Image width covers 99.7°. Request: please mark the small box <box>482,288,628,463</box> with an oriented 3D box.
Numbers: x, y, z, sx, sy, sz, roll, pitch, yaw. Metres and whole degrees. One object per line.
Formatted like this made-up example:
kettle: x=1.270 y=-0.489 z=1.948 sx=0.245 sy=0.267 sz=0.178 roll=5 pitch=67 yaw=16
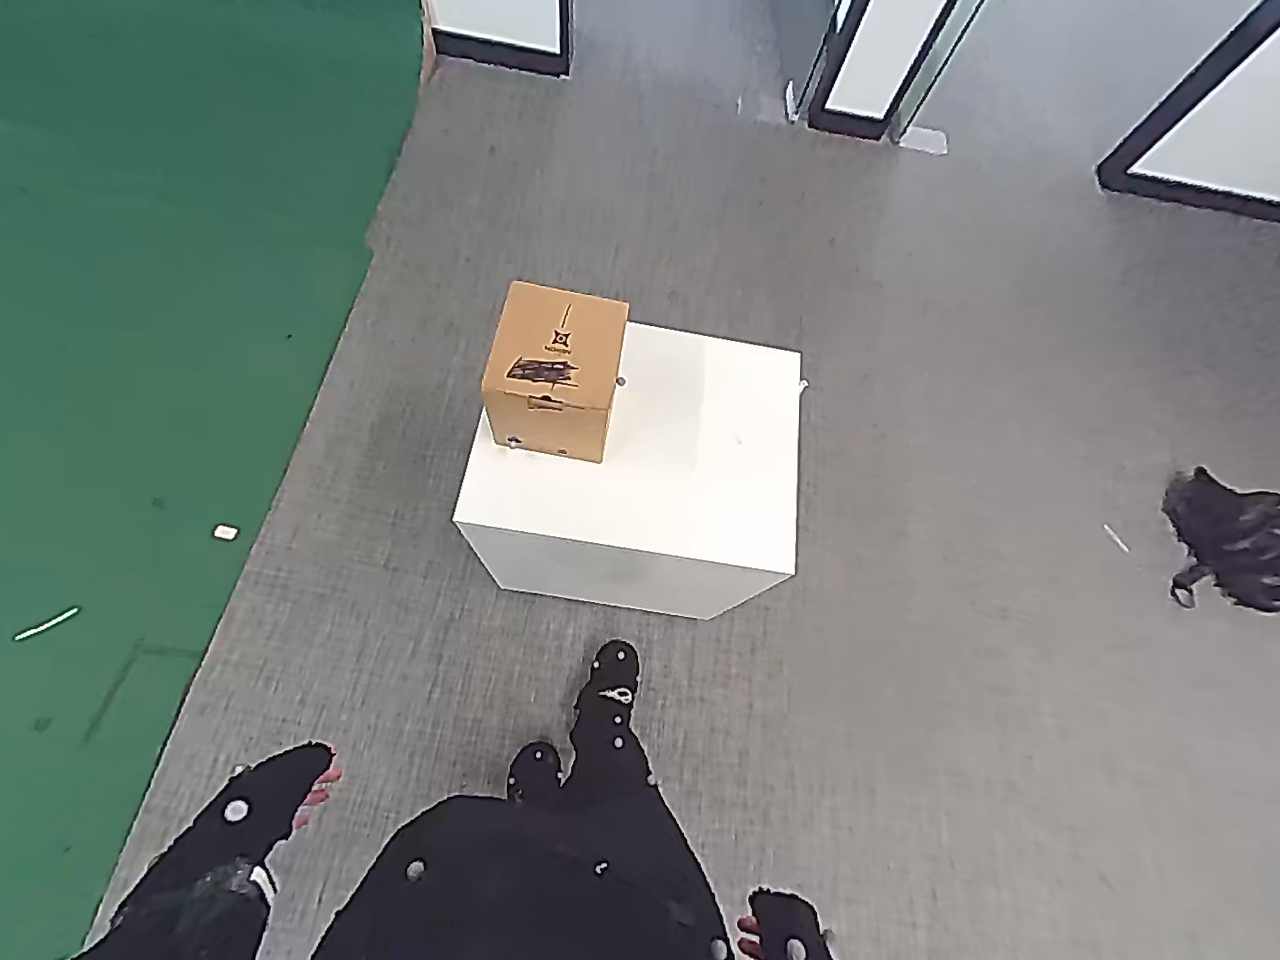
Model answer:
small box: x=-0.117 y=-0.142 z=0.790 sx=0.168 sy=0.176 sz=0.179 roll=10 pitch=67 yaw=-3
